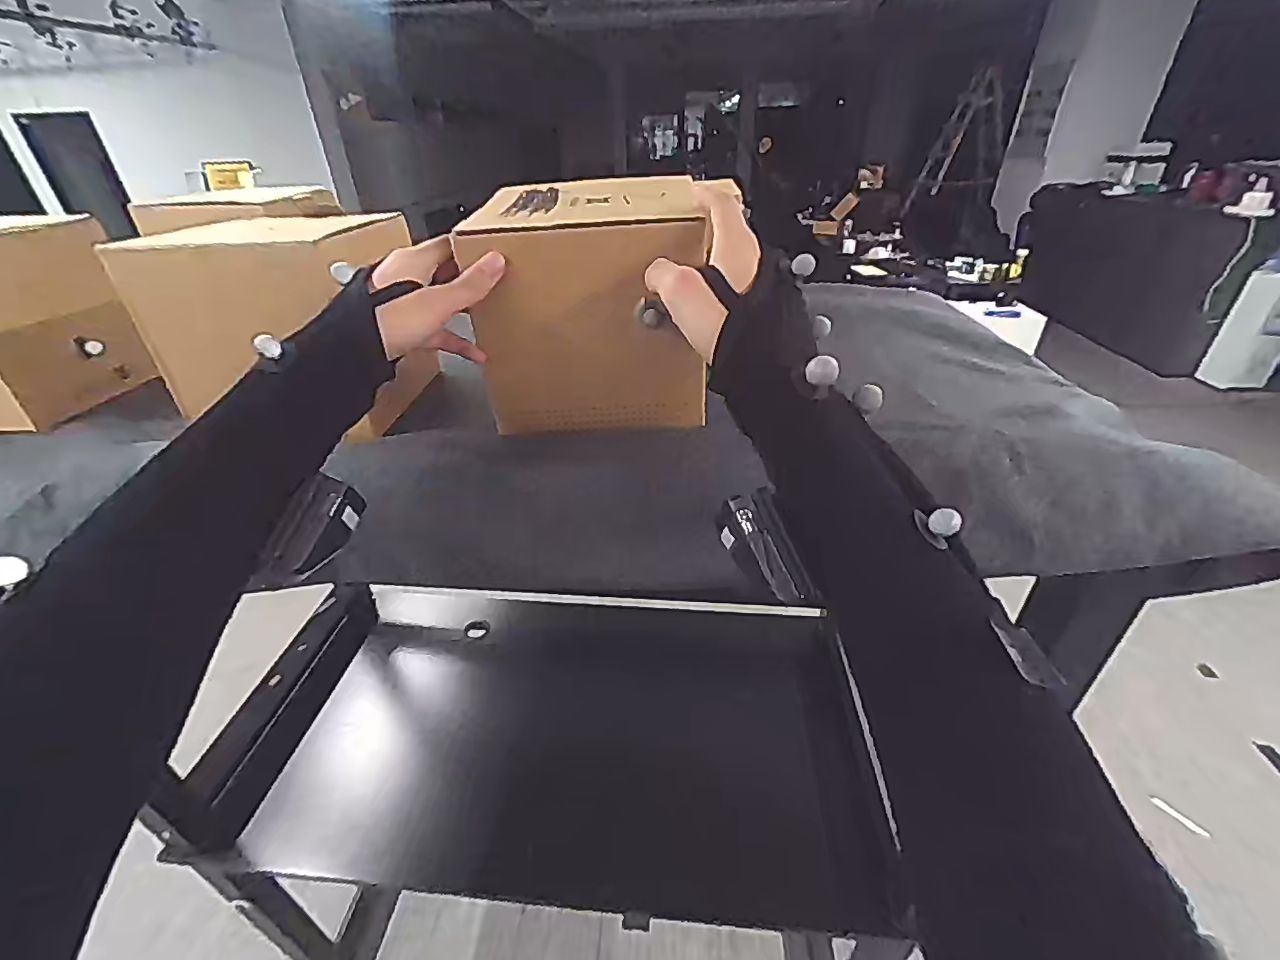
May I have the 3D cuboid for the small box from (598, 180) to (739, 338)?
[{"bbox_3d":[0.042,-0.297,0.727,0.168,0.176,0.179,1,33,5],"label":"small box"}]

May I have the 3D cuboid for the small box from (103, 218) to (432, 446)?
[{"bbox_3d":[-0.312,-0.144,0.507,0.168,0.176,0.179,-2,31,2],"label":"small box"}]

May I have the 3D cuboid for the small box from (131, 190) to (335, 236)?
[{"bbox_3d":[-0.533,-0.306,0.766,0.179,0.176,0.168,1,33,3],"label":"small box"}]

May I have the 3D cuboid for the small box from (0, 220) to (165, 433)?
[{"bbox_3d":[-0.643,-0.153,0.532,0.179,0.176,0.168,0,32,1],"label":"small box"}]
